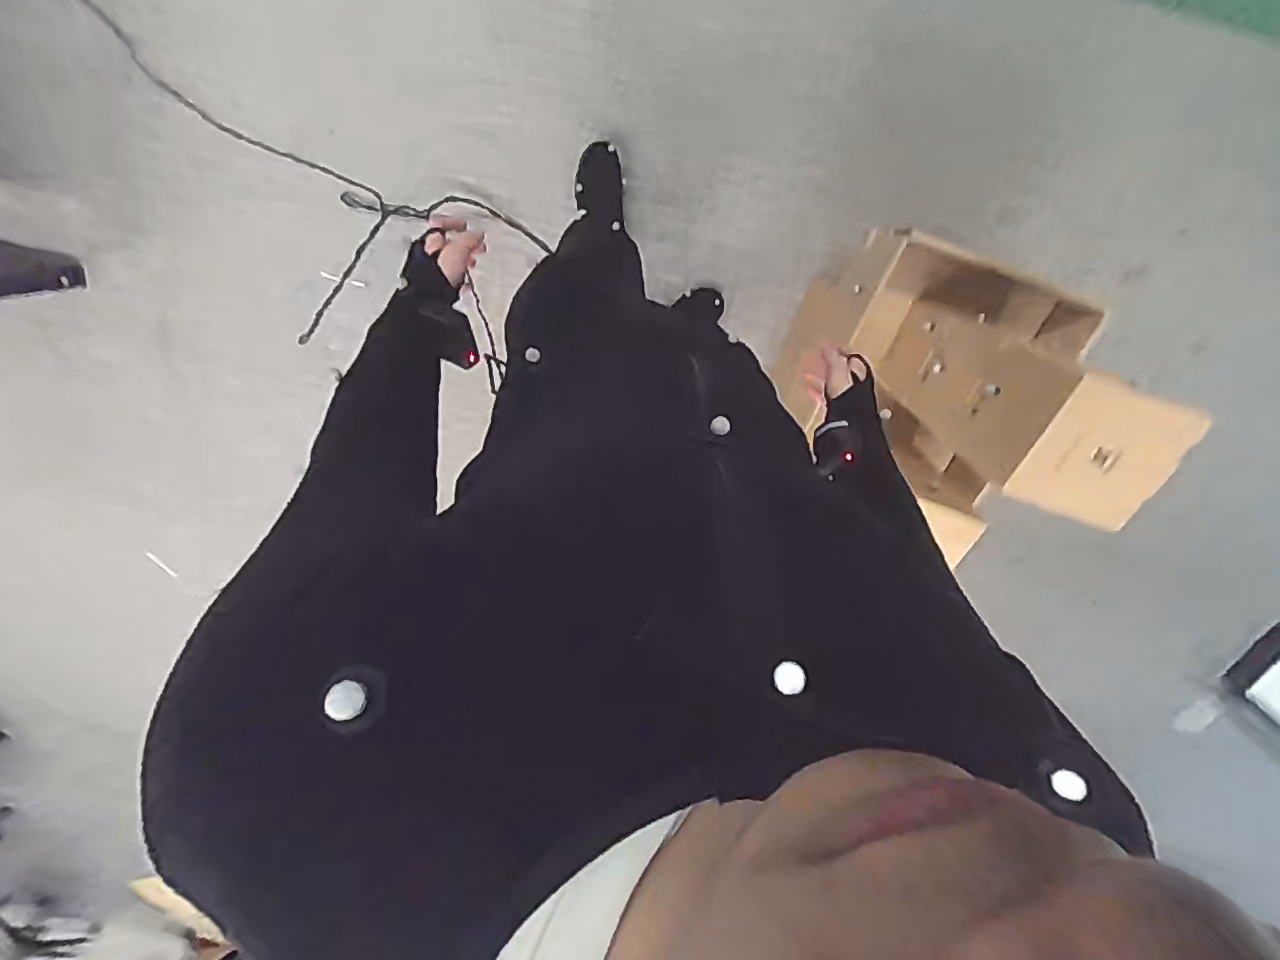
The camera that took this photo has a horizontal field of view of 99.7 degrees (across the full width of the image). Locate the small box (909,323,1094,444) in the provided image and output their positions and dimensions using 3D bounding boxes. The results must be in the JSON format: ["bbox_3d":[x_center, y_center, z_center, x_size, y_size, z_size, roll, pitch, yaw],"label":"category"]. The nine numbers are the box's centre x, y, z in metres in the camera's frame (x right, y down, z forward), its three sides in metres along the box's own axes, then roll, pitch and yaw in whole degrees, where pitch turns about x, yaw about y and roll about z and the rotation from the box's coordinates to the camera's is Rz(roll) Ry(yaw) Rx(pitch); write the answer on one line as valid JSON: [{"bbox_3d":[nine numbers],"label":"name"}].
[{"bbox_3d":[0.571,-0.135,0.856,0.179,0.176,0.168,18,117,-5],"label":"small box"}]

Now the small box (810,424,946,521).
[{"bbox_3d":[0.480,0.003,1.122,0.179,0.176,0.168,20,117,-5],"label":"small box"}]

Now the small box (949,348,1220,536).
[{"bbox_3d":[0.560,-0.058,0.713,0.179,0.176,0.168,19,116,-5],"label":"small box"}]

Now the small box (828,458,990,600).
[{"bbox_3d":[0.468,0.080,0.976,0.179,0.176,0.168,20,117,-6],"label":"small box"}]
